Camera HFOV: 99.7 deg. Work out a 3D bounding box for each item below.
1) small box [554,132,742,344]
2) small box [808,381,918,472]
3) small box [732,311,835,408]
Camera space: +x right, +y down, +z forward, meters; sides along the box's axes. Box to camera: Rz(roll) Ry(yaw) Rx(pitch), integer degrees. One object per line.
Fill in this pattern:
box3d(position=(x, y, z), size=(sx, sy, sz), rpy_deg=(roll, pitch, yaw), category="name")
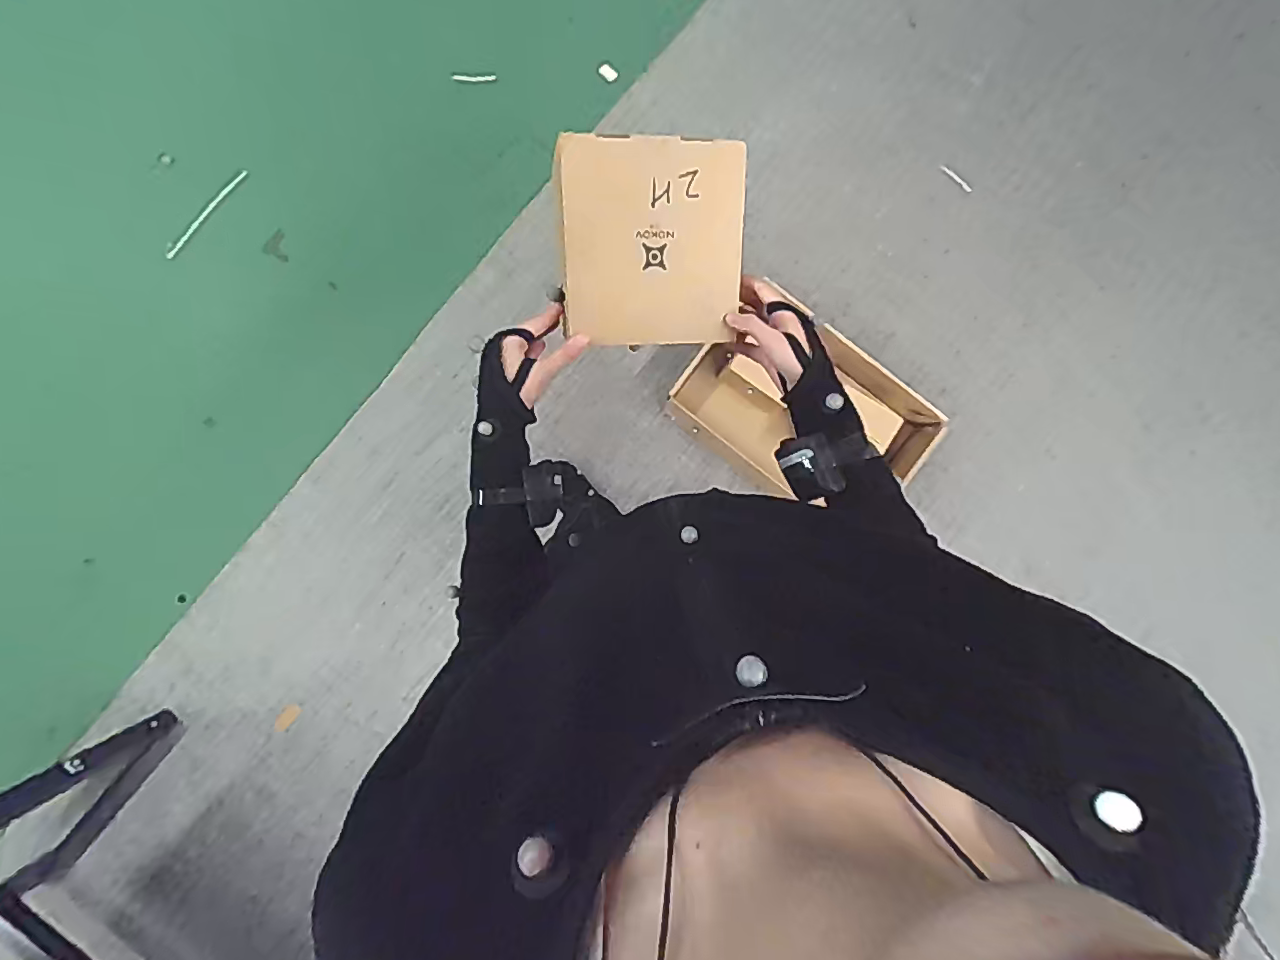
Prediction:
box3d(position=(-0.002, -0.242, 0.567), size=(0.168, 0.176, 0.179), rpy_deg=(-4, 109, -9), category="small box")
box3d(position=(0.563, -0.129, 1.394), size=(0.179, 0.176, 0.168), rpy_deg=(31, 90, 0), category="small box")
box3d(position=(0.359, -0.299, 1.391), size=(0.179, 0.176, 0.168), rpy_deg=(35, 91, -2), category="small box")
